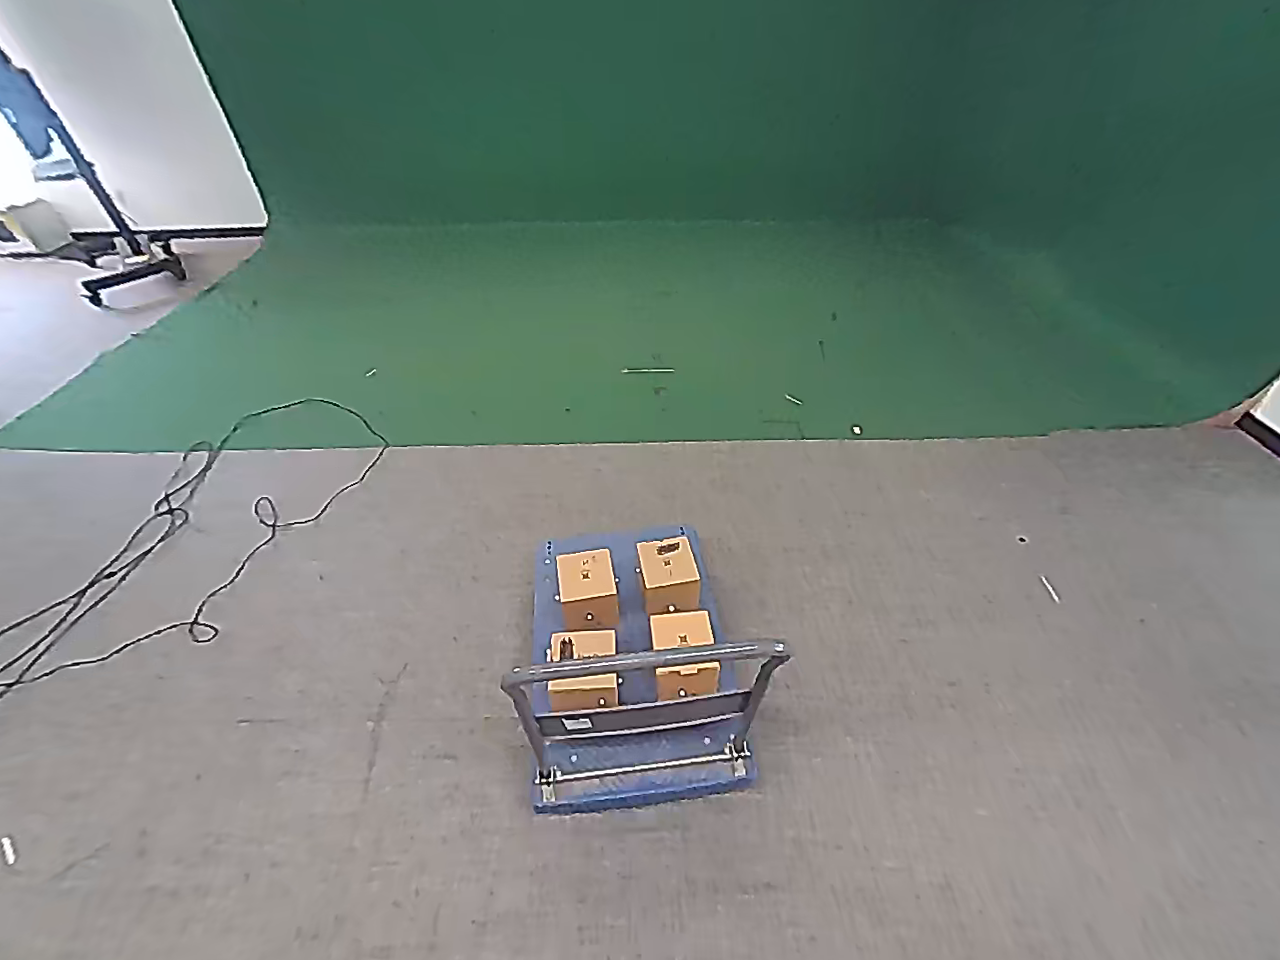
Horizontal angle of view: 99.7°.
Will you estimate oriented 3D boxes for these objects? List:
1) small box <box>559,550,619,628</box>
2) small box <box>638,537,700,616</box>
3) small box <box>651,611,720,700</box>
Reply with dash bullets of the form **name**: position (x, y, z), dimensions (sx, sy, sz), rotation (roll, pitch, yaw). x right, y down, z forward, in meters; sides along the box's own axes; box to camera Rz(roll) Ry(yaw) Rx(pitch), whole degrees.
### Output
- **small box**: position (-0.159, 0.347, 1.692), dimensions (0.168, 0.176, 0.179), rotation (-7, 44, -7)
- **small box**: position (0.088, 0.311, 1.723), dimensions (0.168, 0.176, 0.179), rotation (-8, 45, -6)
- **small box**: position (0.121, 0.495, 1.528), dimensions (0.168, 0.176, 0.179), rotation (-5, 44, -4)
